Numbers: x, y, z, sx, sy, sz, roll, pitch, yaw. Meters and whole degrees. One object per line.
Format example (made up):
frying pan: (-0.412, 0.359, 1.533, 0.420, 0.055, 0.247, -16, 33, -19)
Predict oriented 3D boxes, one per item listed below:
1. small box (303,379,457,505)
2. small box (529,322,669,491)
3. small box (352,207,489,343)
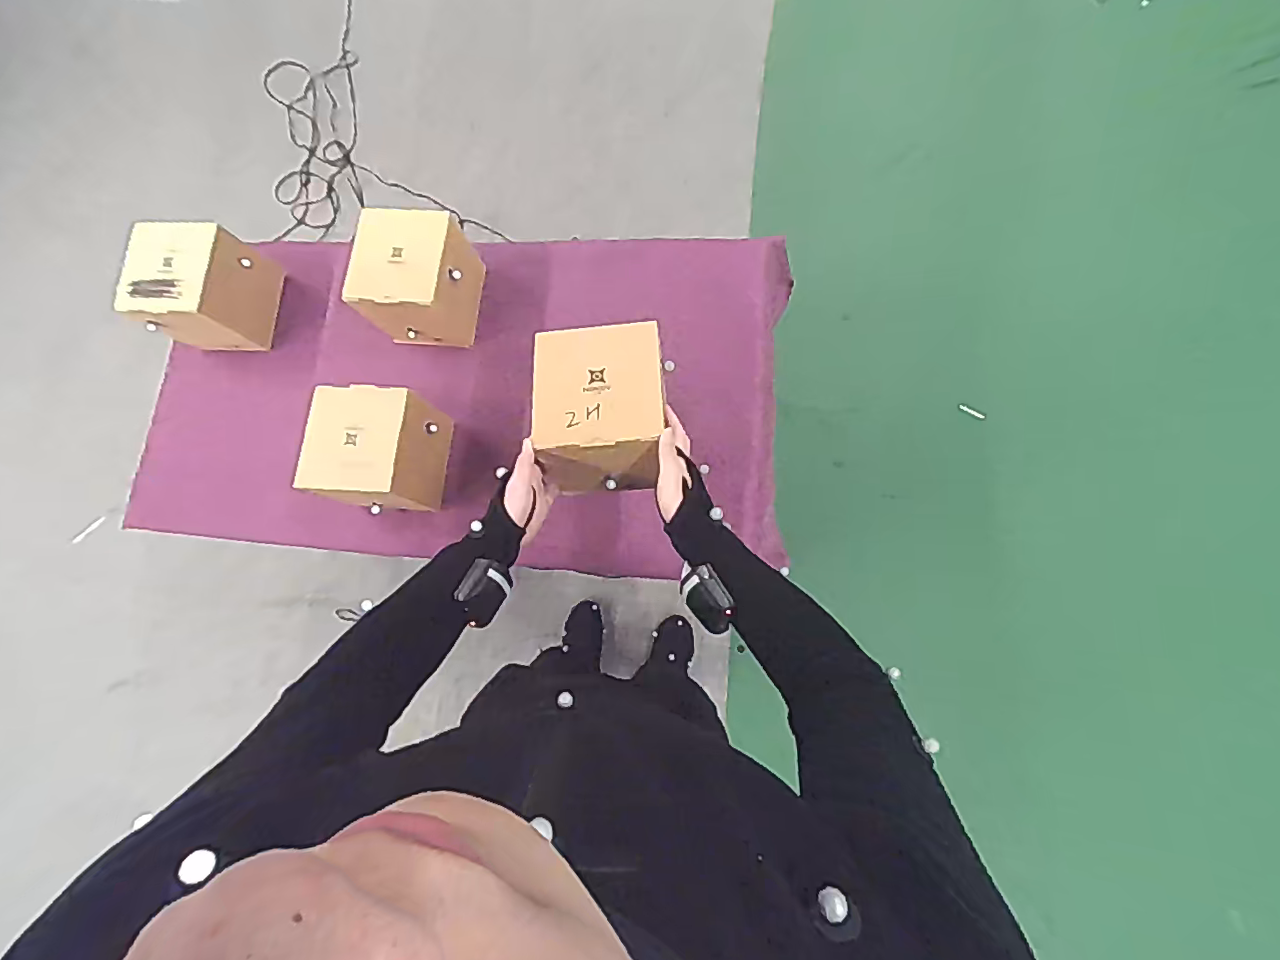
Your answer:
small box: (-0.444, -0.061, 0.955, 0.168, 0.176, 0.179, 4, 78, 9)
small box: (-0.048, -0.097, 0.769, 0.168, 0.176, 0.179, -4, 68, 7)
small box: (-0.399, -0.379, 1.016, 0.168, 0.176, 0.179, 6, 81, 8)
